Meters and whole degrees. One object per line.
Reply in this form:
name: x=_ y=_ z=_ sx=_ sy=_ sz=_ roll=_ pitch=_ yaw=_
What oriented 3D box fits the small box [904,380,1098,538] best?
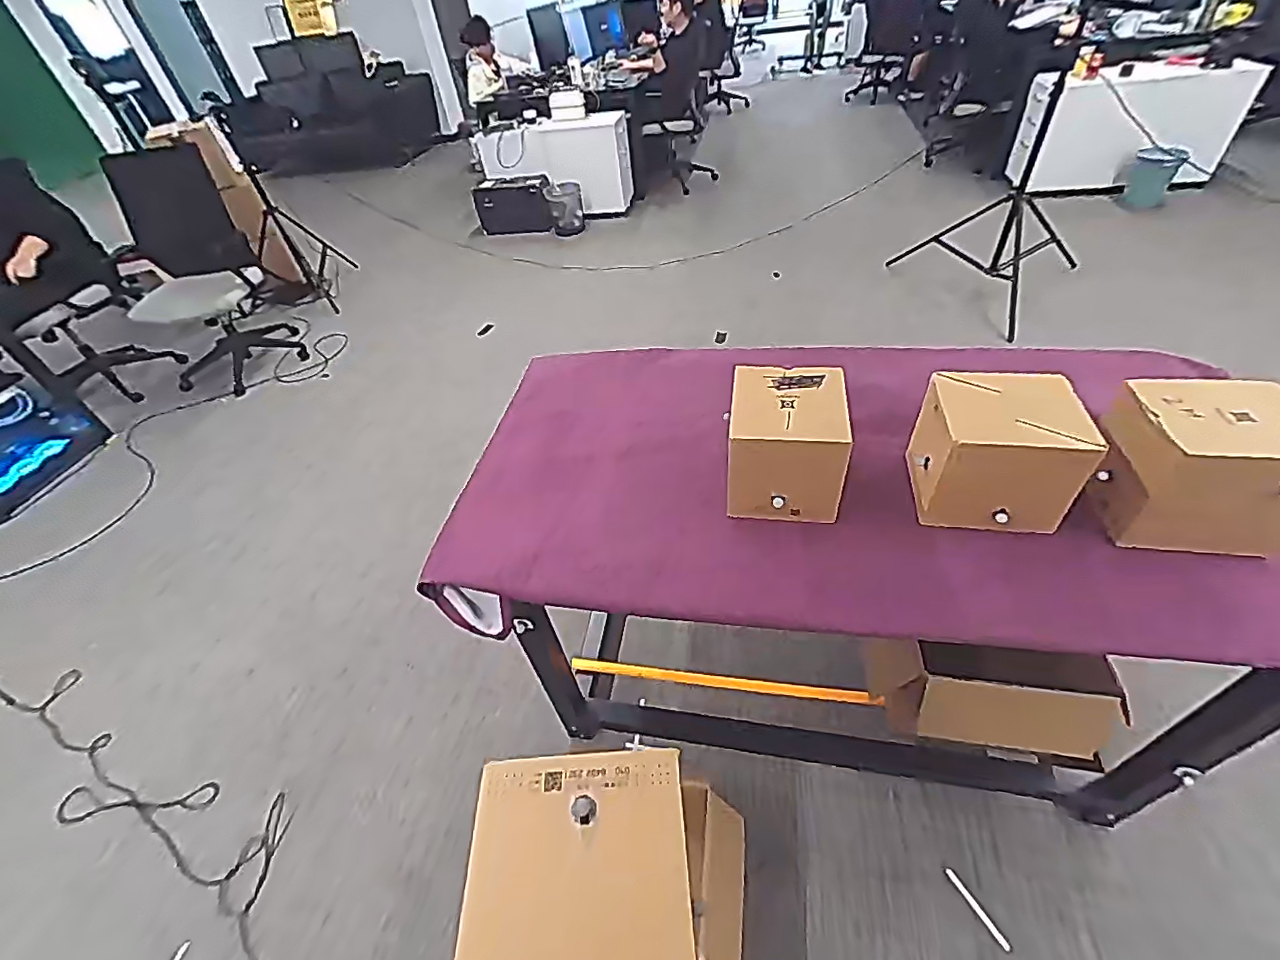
small box: x=0.511 y=-0.036 z=0.796 sx=0.179 sy=0.176 sz=0.168 roll=3 pitch=43 yaw=13

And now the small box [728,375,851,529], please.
small box: x=0.229 y=-0.047 z=0.856 sx=0.168 sy=0.176 sz=0.179 roll=3 pitch=45 yaw=12

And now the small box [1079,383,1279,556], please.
small box: x=0.749 y=-0.014 z=0.736 sx=0.179 sy=0.176 sz=0.168 roll=4 pitch=42 yaw=12
